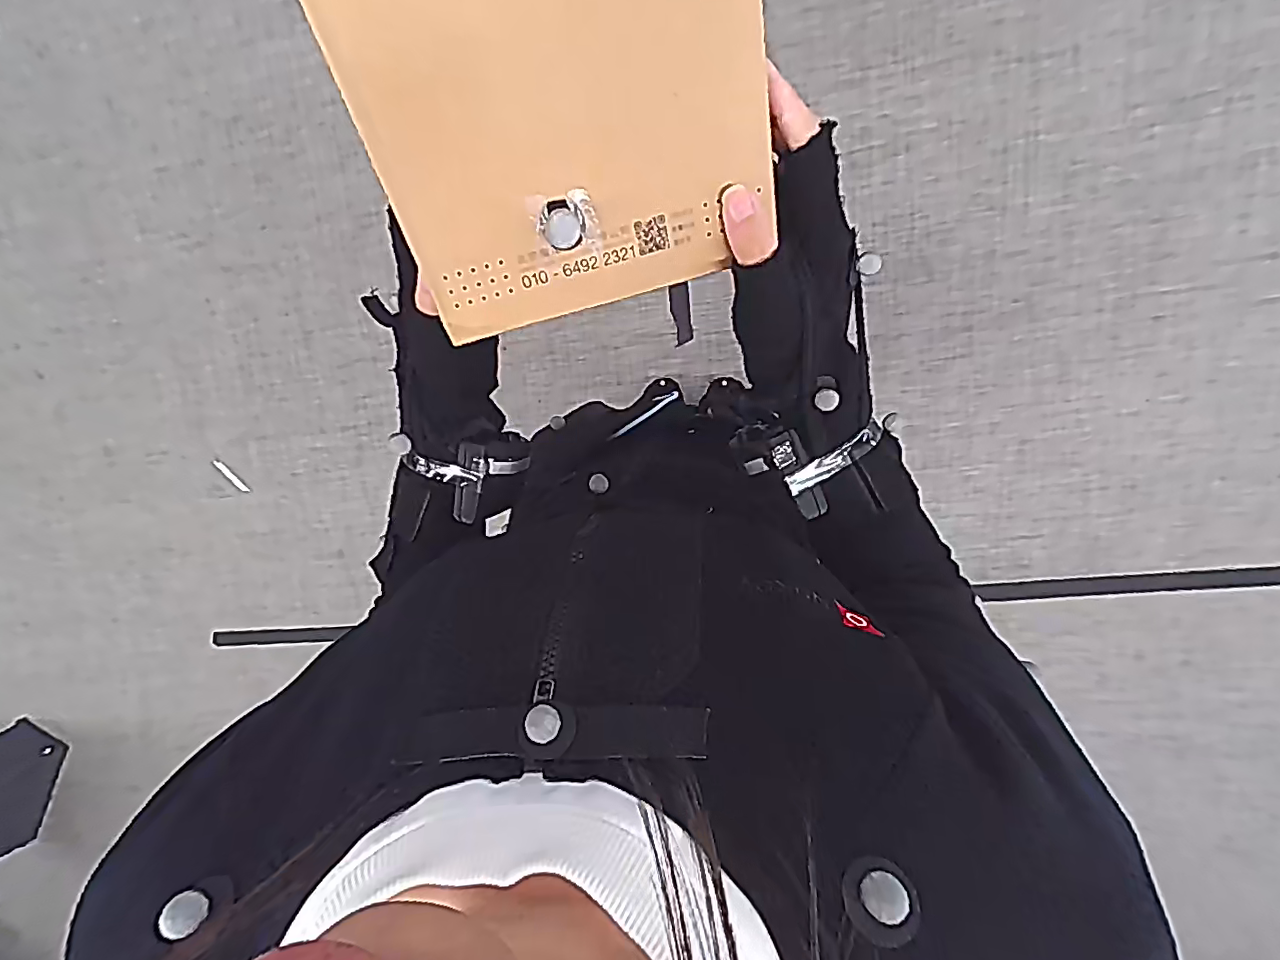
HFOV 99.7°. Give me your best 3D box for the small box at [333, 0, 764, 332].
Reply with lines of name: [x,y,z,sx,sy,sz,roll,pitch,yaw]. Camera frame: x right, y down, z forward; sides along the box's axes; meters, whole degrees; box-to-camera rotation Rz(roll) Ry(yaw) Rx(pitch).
small box: [-0.043,-0.201,0.298,0.168,0.179,0.176,-17,126,-2]
